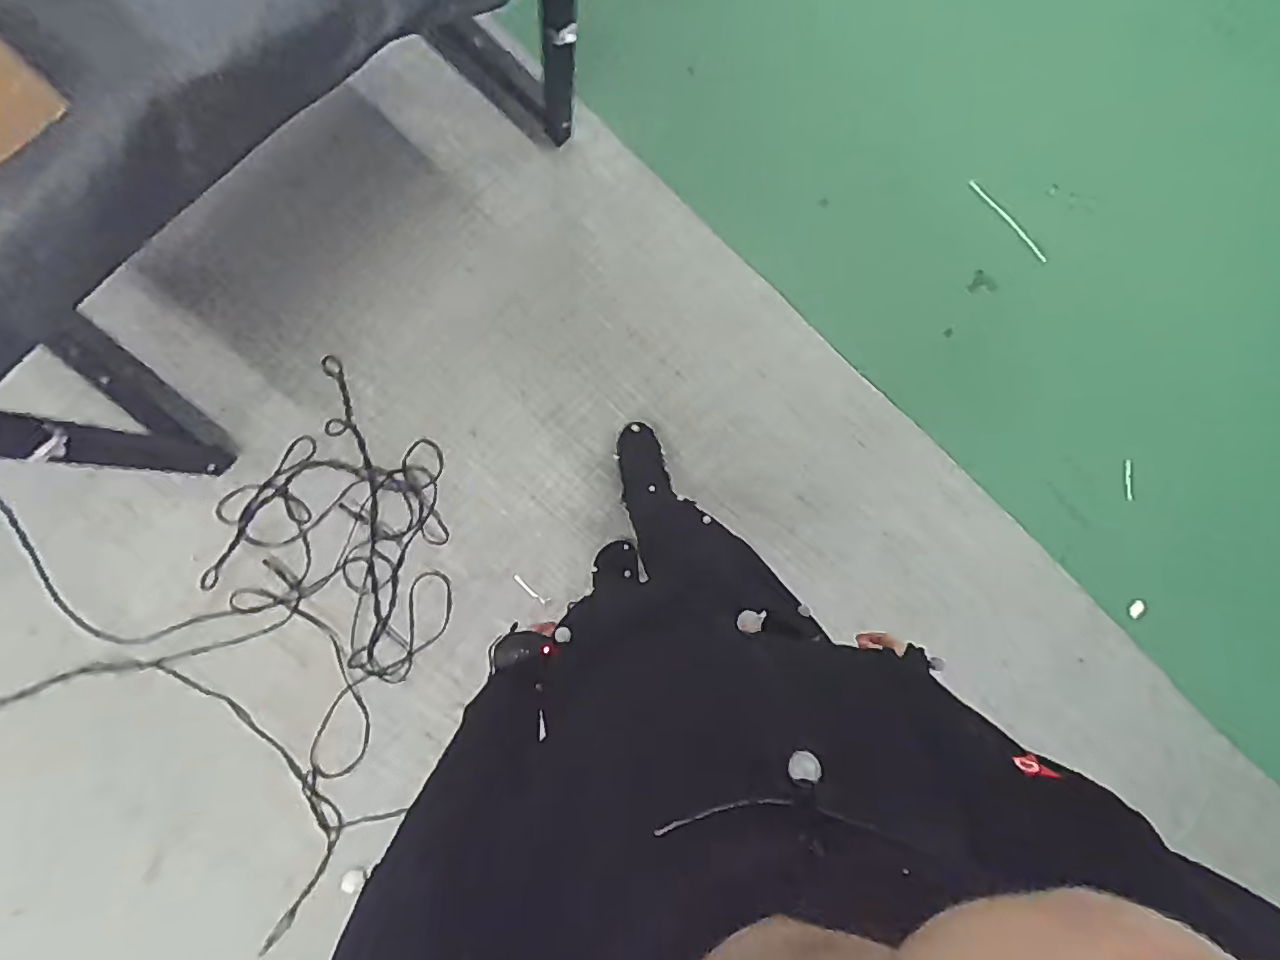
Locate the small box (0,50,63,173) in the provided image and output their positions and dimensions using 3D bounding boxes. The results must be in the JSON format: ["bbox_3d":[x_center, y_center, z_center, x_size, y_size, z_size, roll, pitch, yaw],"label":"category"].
[{"bbox_3d":[-0.681,-0.363,0.456,0.168,0.176,0.179,43,81,-2],"label":"small box"}]
